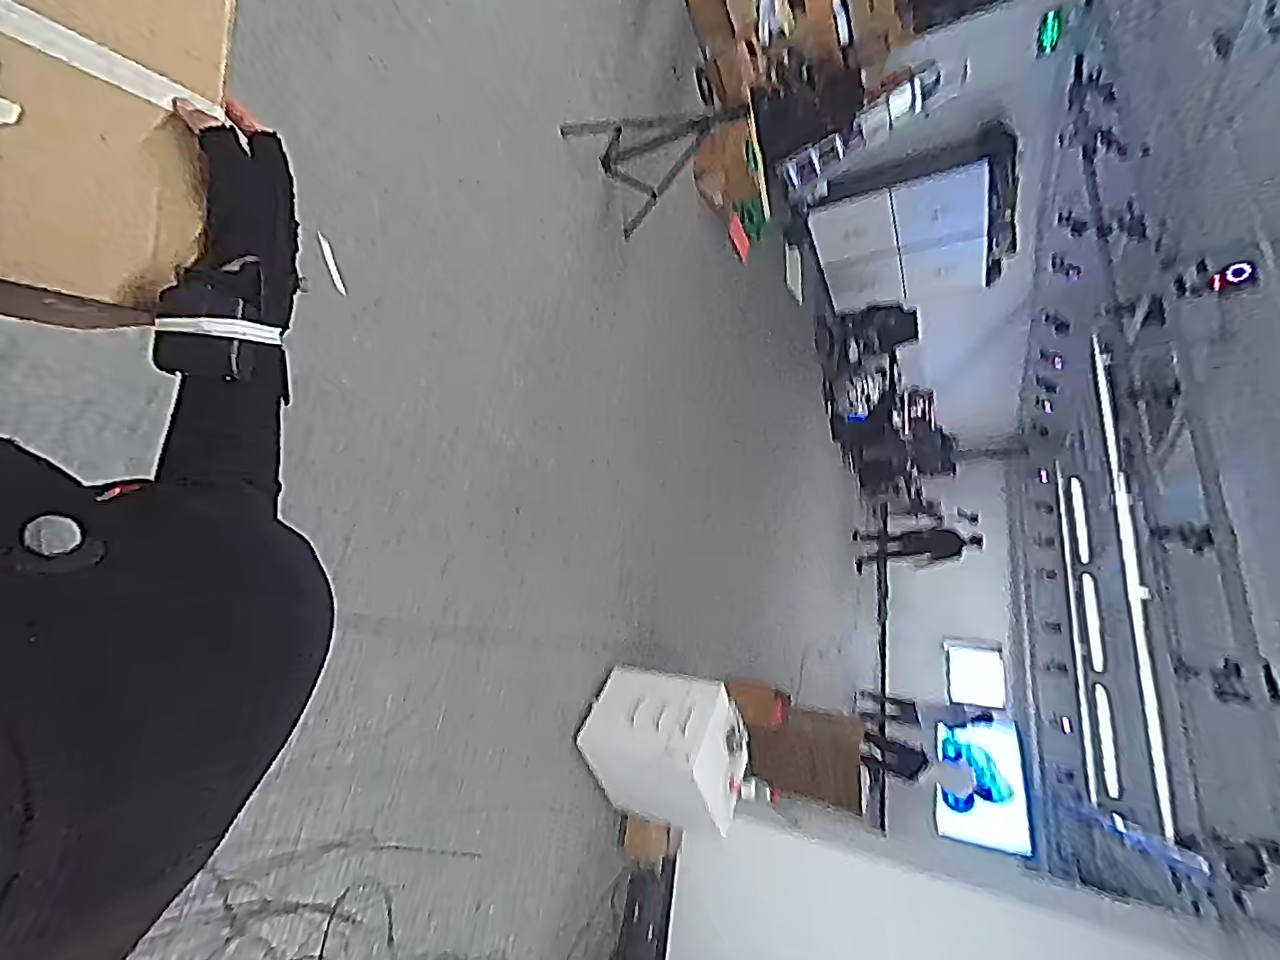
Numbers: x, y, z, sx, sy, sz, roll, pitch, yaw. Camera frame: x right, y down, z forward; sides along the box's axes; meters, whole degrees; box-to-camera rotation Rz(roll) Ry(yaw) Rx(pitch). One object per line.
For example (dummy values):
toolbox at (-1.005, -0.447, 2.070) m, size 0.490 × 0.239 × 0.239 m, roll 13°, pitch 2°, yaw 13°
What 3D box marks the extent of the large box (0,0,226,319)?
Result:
large box at (-0.569, -0.308, 0.343) m, size 0.408 × 0.320 × 0.320 m, roll 2°, pitch 97°, yaw -58°
